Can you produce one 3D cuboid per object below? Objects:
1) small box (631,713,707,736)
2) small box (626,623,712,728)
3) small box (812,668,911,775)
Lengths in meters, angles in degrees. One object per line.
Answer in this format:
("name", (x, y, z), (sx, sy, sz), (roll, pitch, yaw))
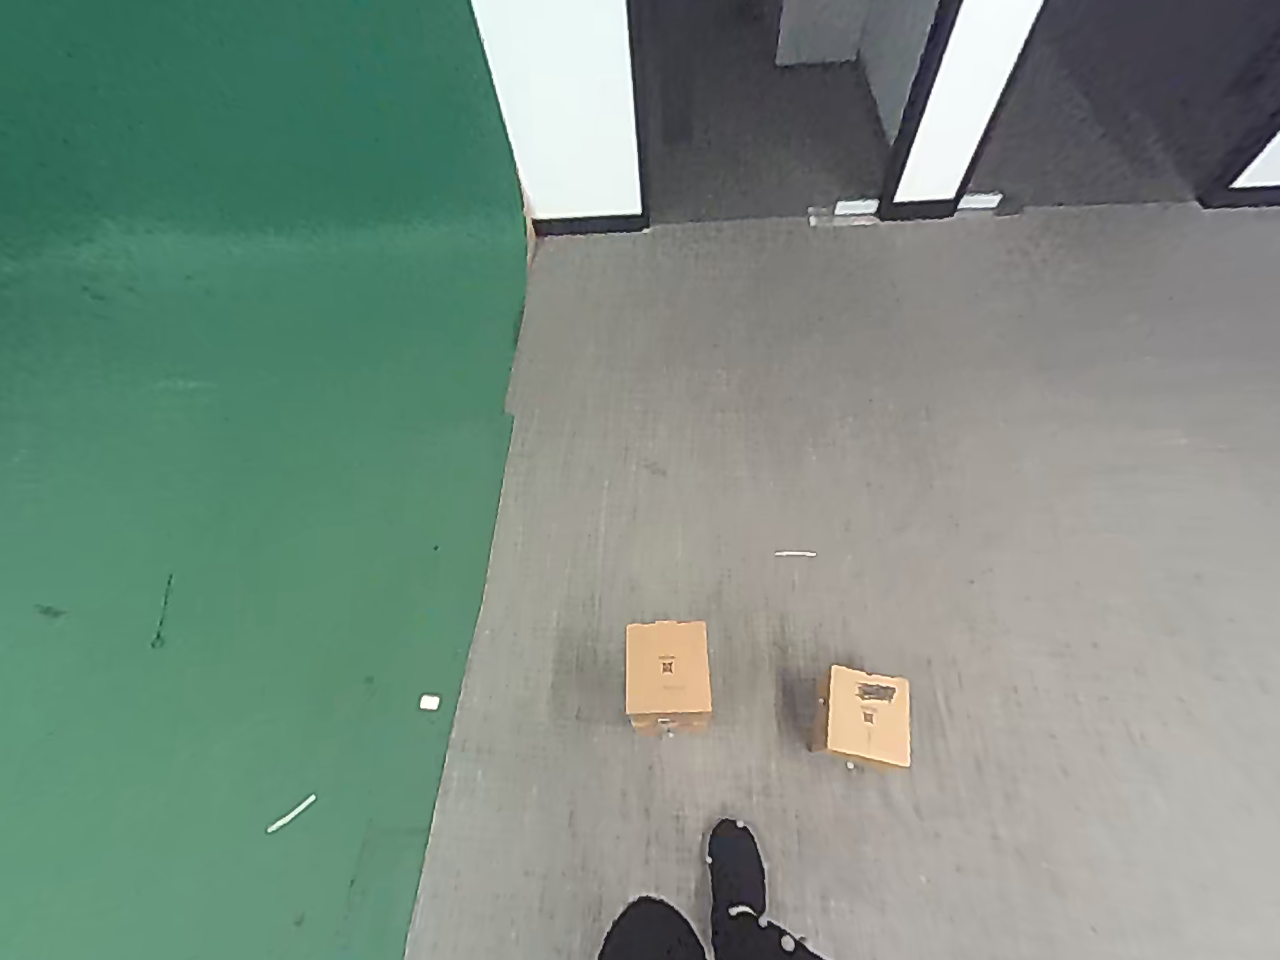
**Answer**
("small box", (0.065, 0.494, 1.264), (0.168, 0.176, 0.179), (-3, 59, 3))
("small box", (0.063, 0.410, 1.128), (0.168, 0.176, 0.179), (-2, 58, 5))
("small box", (0.487, 0.541, 1.203), (0.168, 0.176, 0.179), (9, 61, 10))
